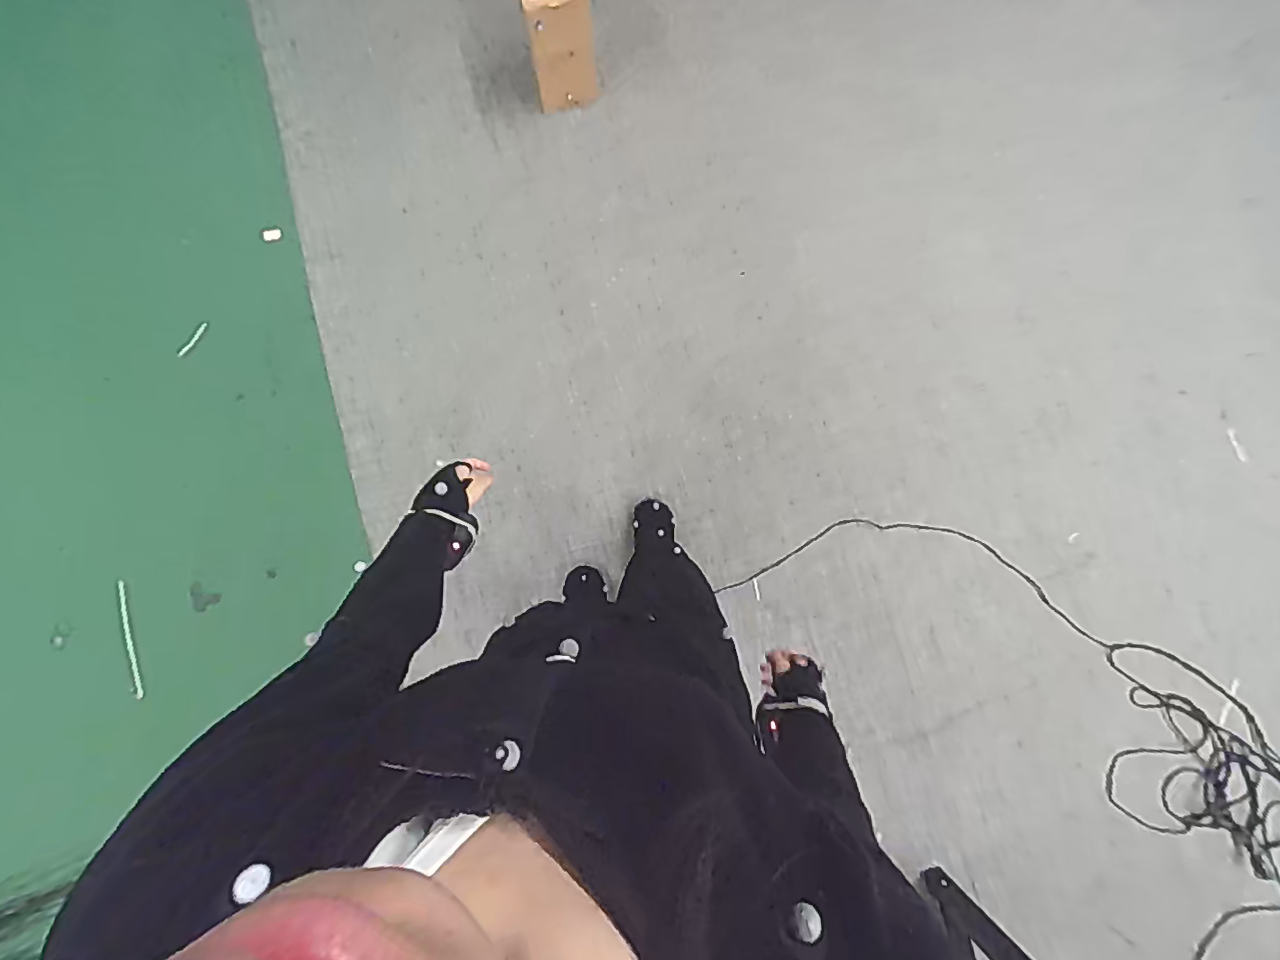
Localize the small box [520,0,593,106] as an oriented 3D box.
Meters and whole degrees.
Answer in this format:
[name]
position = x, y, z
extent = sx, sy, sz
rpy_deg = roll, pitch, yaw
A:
[small box]
position = -0.236, -1.232, 1.558
extent = 0.168, 0.176, 0.179
rpy_deg = -15, 86, -3
